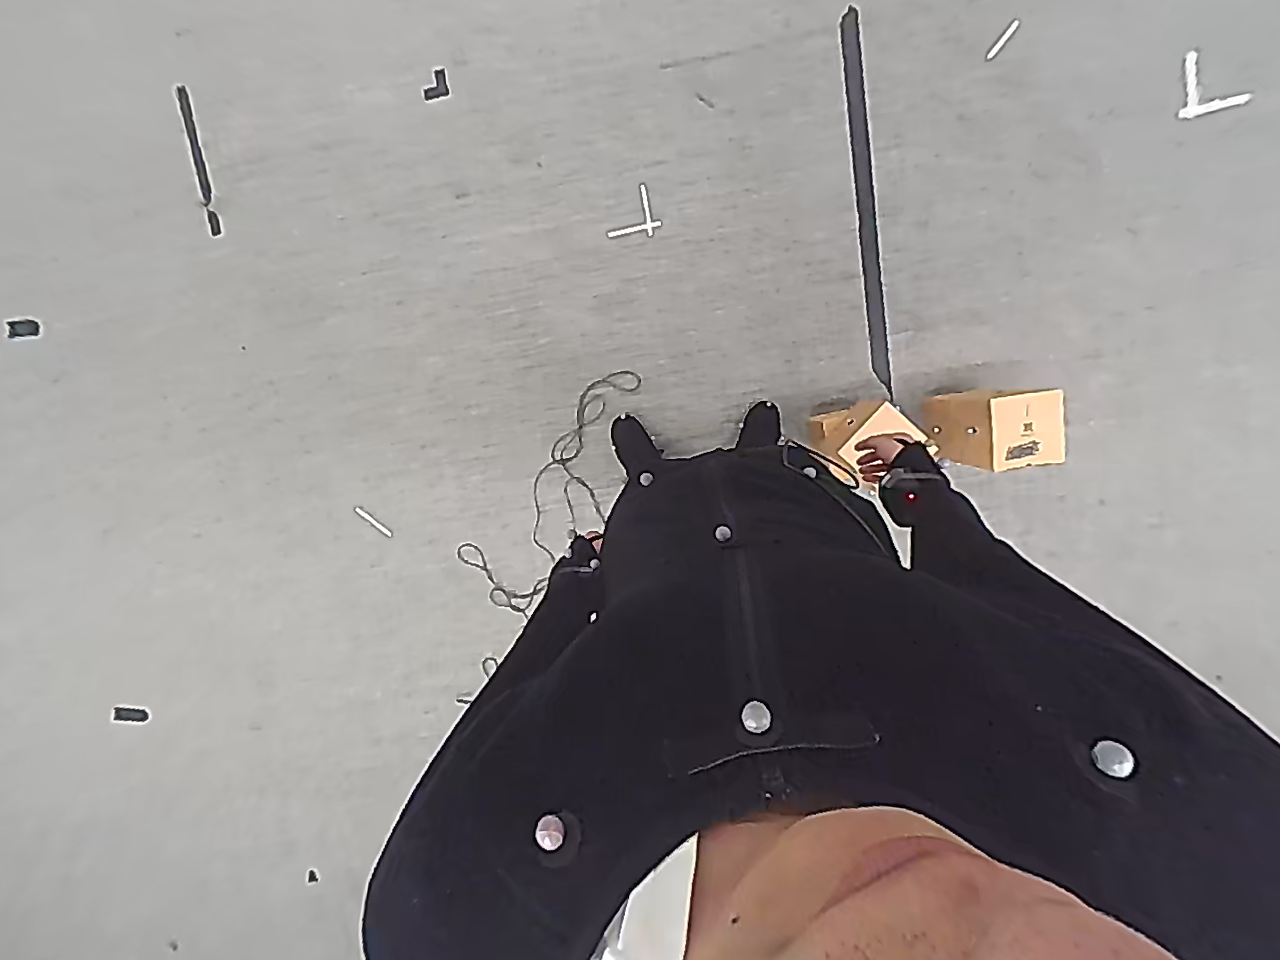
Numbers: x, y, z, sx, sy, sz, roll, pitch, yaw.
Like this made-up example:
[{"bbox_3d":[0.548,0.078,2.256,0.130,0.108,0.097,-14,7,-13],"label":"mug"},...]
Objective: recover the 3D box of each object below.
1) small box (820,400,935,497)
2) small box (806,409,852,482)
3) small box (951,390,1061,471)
[{"bbox_3d":[0.586,-0.084,1.364,0.179,0.176,0.168,41,99,-5],"label":"small box"},{"bbox_3d":[0.581,-0.105,1.527,0.168,0.176,0.179,-12,99,4],"label":"small box"},{"bbox_3d":[0.901,-0.128,1.343,0.168,0.176,0.179,-8,98,3],"label":"small box"}]
